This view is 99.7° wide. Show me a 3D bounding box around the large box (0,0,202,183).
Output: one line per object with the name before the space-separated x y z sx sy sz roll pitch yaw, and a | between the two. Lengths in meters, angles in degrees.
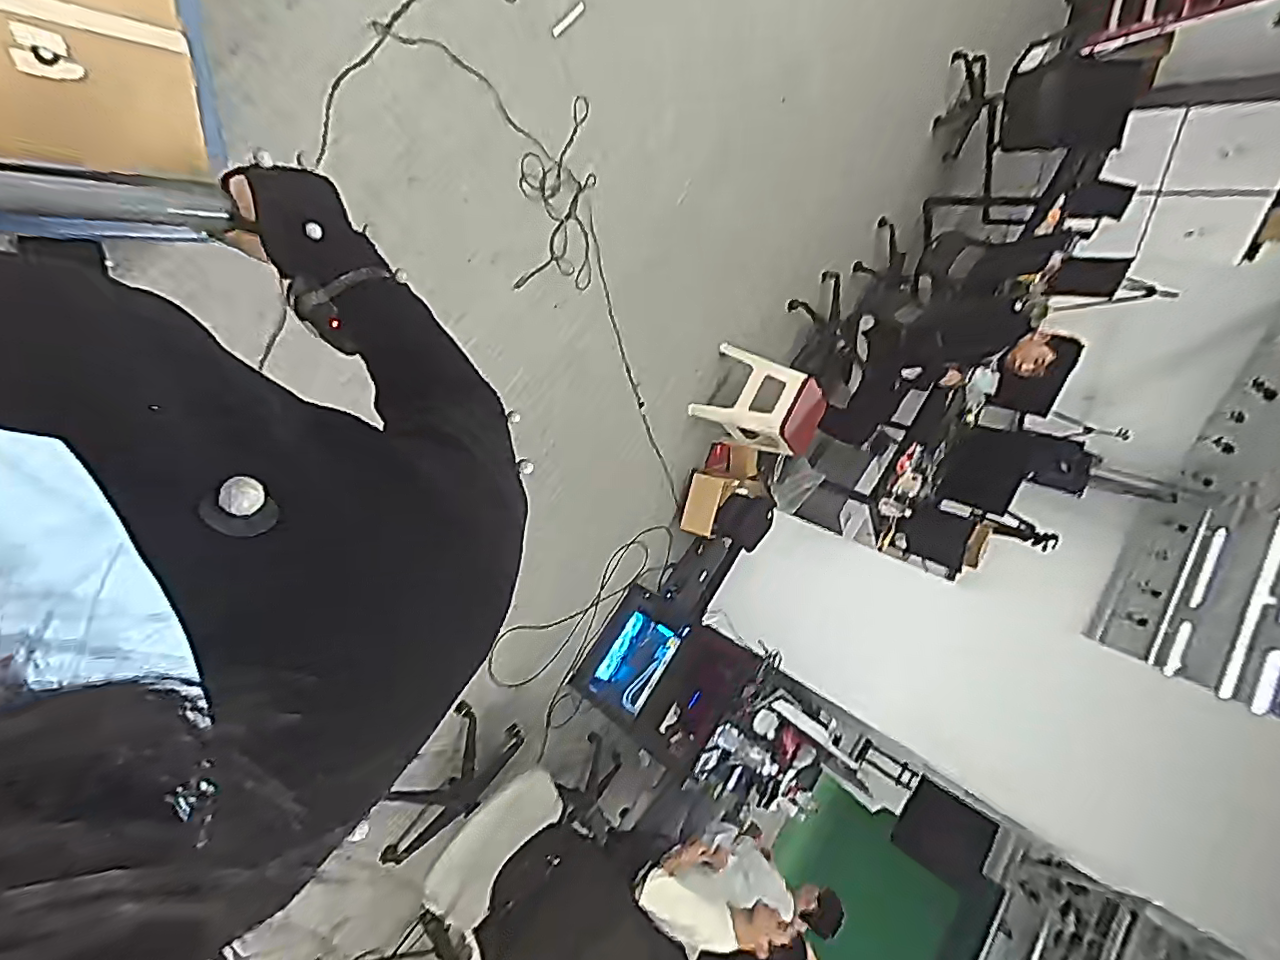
large box | -0.841 -0.554 0.644 0.408 0.320 0.320 -19 124 -45
